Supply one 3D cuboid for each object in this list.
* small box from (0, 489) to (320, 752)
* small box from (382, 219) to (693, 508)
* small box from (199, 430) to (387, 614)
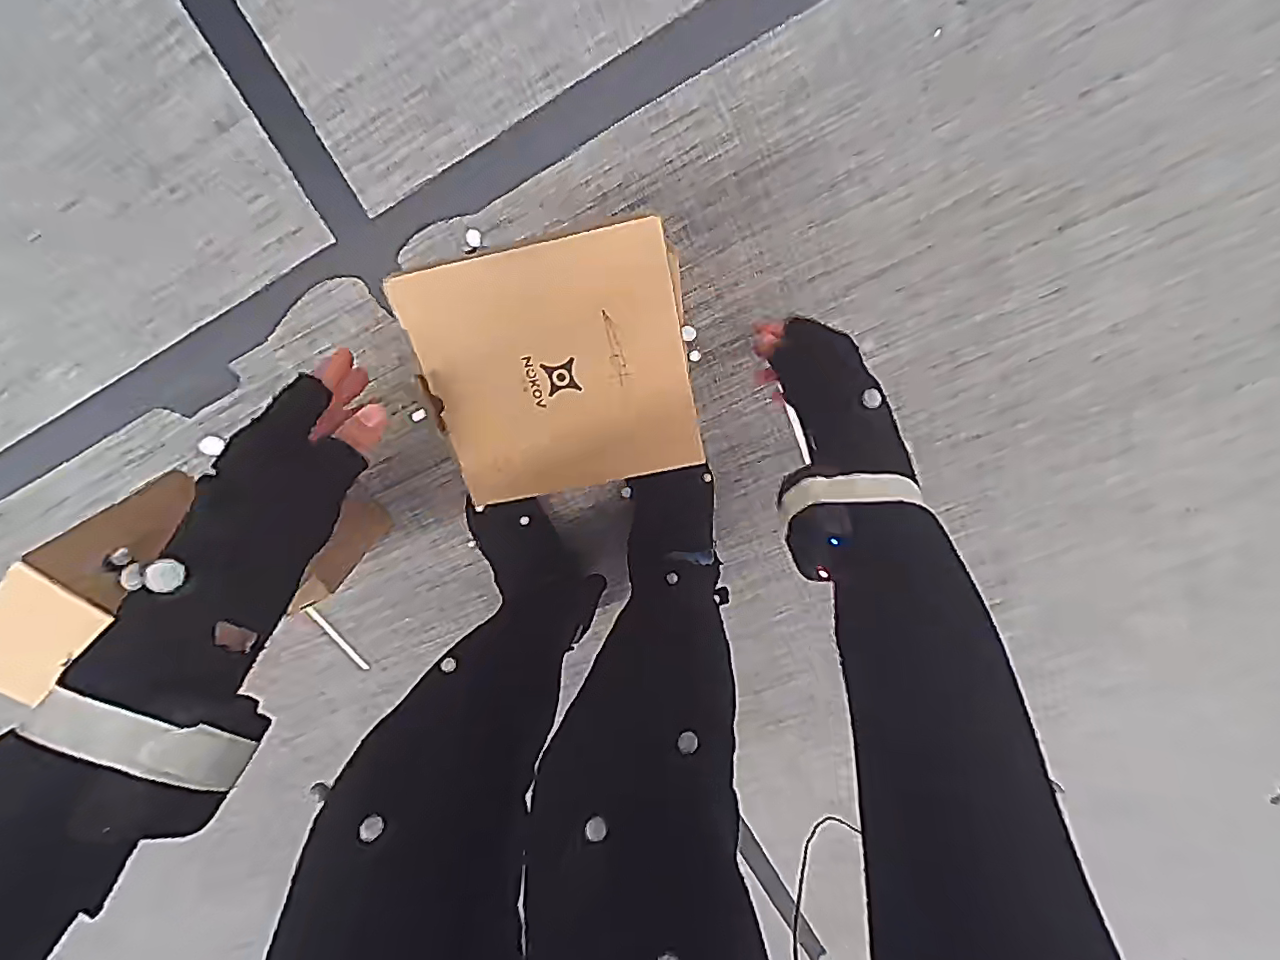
[{"bbox_3d":[-0.484,0.131,0.555,0.168,0.176,0.179,-36,113,19],"label":"small box"},{"bbox_3d":[-0.060,-0.101,0.430,0.179,0.176,0.168,-11,117,5],"label":"small box"},{"bbox_3d":[-0.473,0.063,0.705,0.168,0.176,0.179,-24,114,13],"label":"small box"}]
